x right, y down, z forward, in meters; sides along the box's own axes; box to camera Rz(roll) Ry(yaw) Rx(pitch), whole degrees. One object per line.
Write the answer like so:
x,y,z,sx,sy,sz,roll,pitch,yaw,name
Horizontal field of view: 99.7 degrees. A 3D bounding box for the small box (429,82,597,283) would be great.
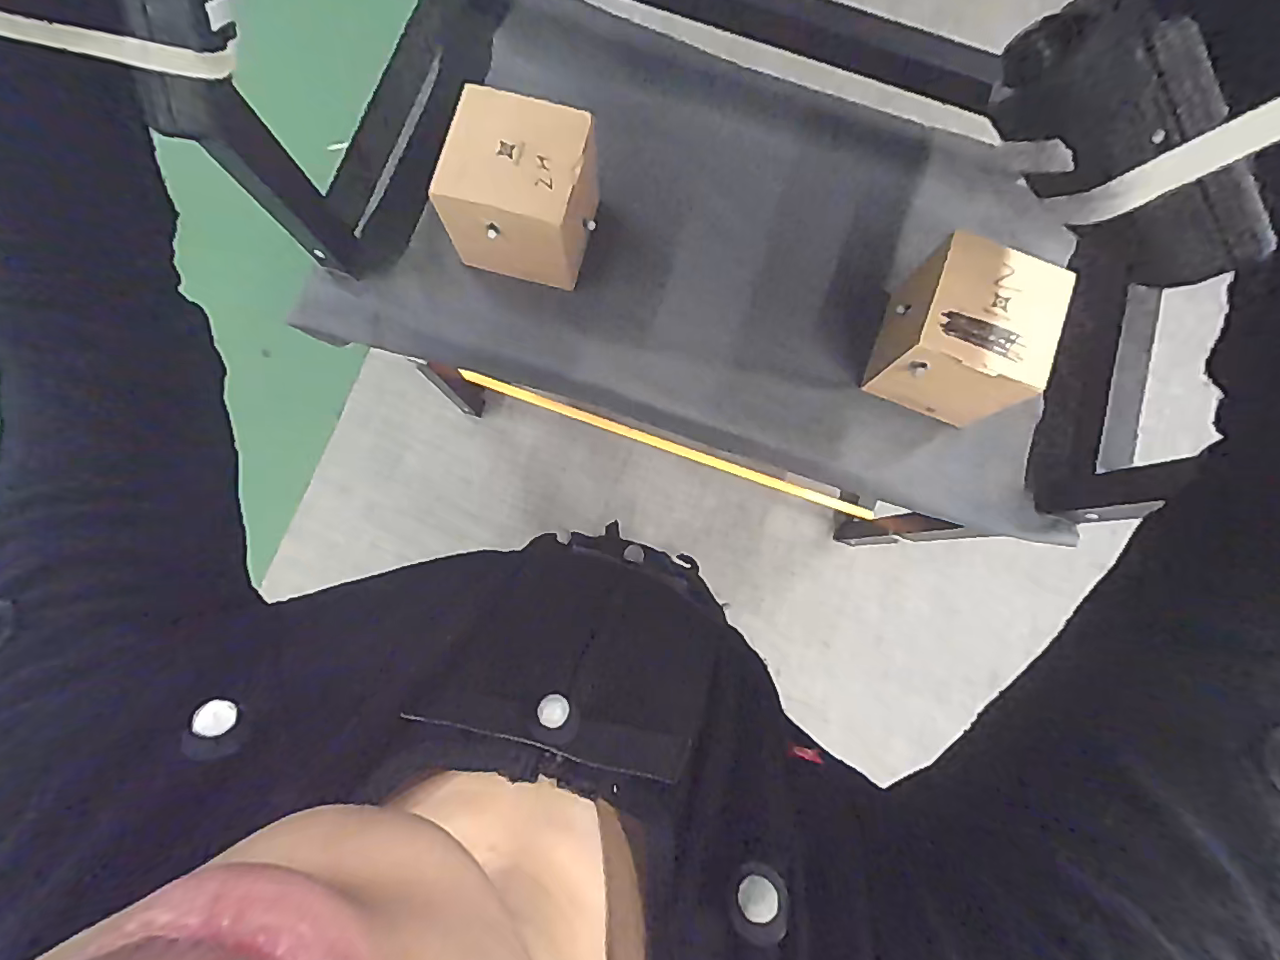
-0.166,-0.407,0.768,0.179,0.176,0.168,15,82,-1,small box
